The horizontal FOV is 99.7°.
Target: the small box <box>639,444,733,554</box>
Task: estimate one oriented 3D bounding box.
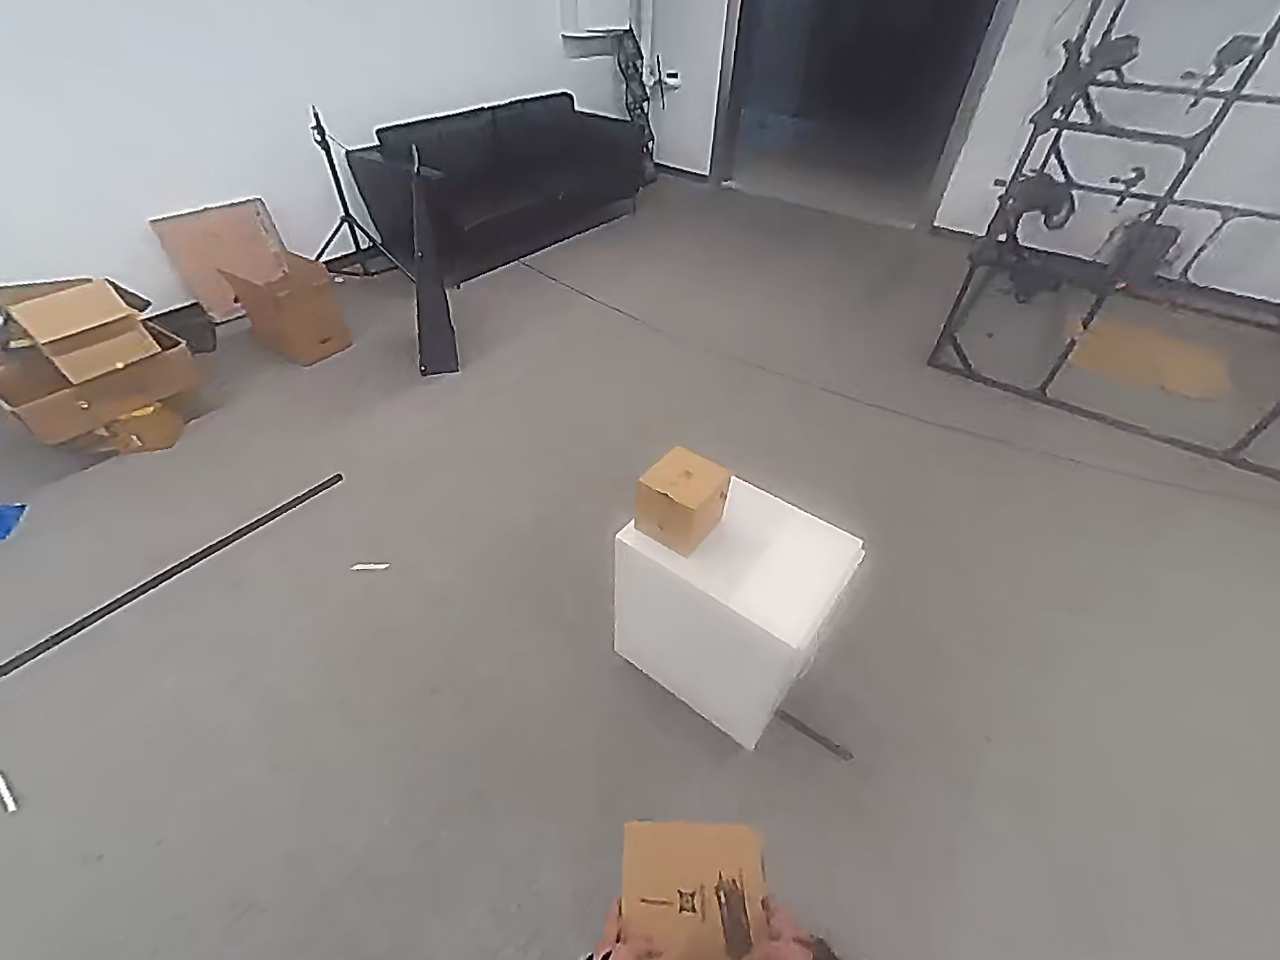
[{"bbox_3d":[0.106,0.046,1.337,0.168,0.176,0.179,28,49,25],"label":"small box"}]

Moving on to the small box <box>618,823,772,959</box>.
[{"bbox_3d":[0.066,0.552,0.698,0.179,0.176,0.168,-2,50,3],"label":"small box"}]
